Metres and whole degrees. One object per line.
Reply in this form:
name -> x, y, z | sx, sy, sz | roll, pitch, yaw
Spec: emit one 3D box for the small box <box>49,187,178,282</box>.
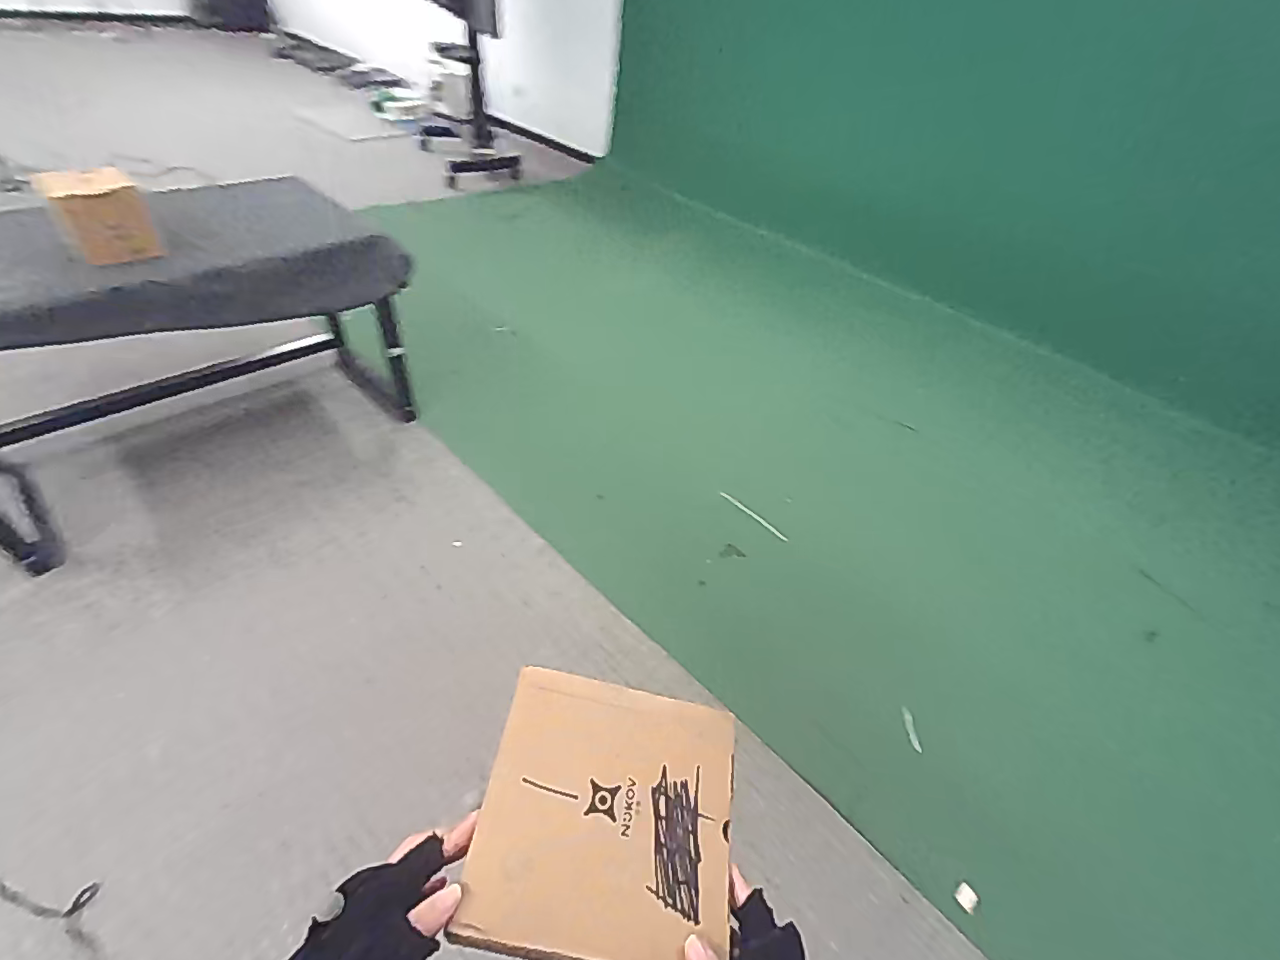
small box -> -1.339, -0.625, 1.386 | 0.179, 0.176, 0.168 | 36, 50, 27
